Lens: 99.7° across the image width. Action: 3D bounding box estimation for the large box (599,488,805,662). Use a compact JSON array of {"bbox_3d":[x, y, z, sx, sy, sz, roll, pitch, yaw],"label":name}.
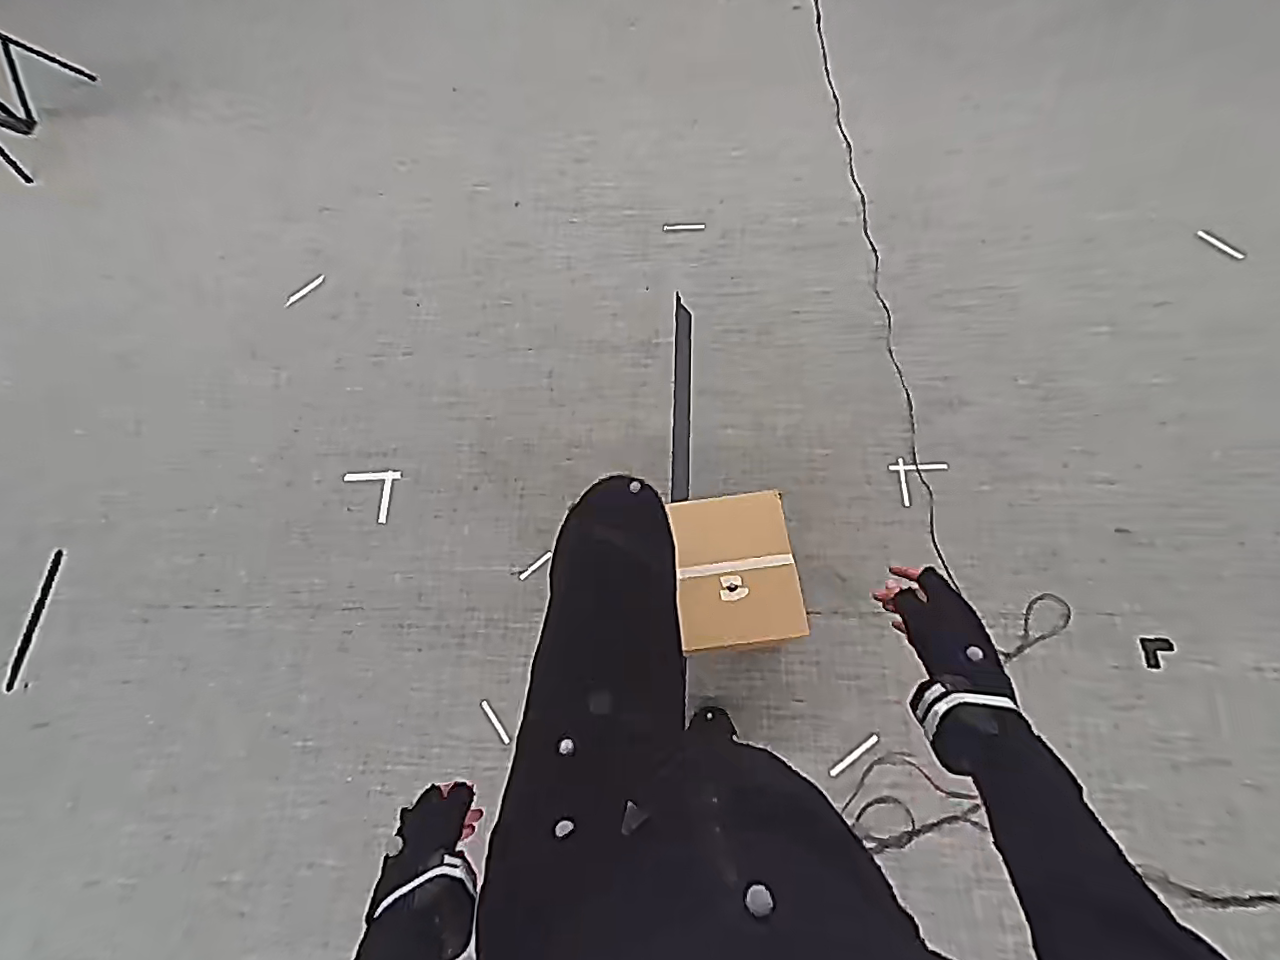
[{"bbox_3d":[0.132,0.241,1.285,0.408,0.320,0.320,-8,69,2],"label":"large box"}]
